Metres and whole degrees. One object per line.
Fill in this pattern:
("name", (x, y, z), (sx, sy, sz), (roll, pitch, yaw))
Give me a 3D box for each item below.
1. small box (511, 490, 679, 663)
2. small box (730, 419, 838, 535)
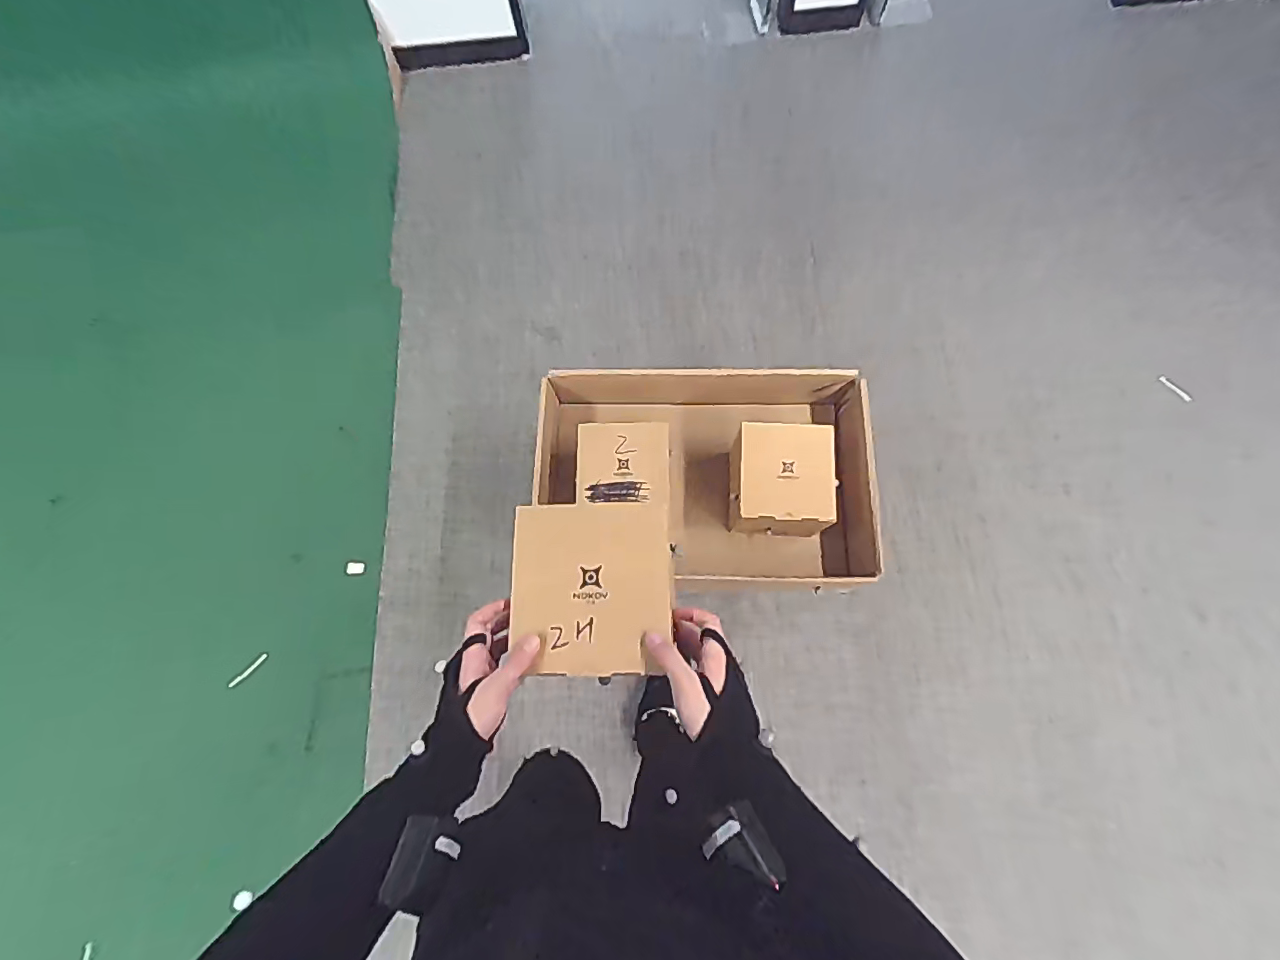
("small box", (-0.040, 0.119, 0.628), (0.168, 0.176, 0.179), (-2, 73, 5))
("small box", (0.262, 0.000, 1.018), (0.168, 0.176, 0.179), (3, 76, 3))
